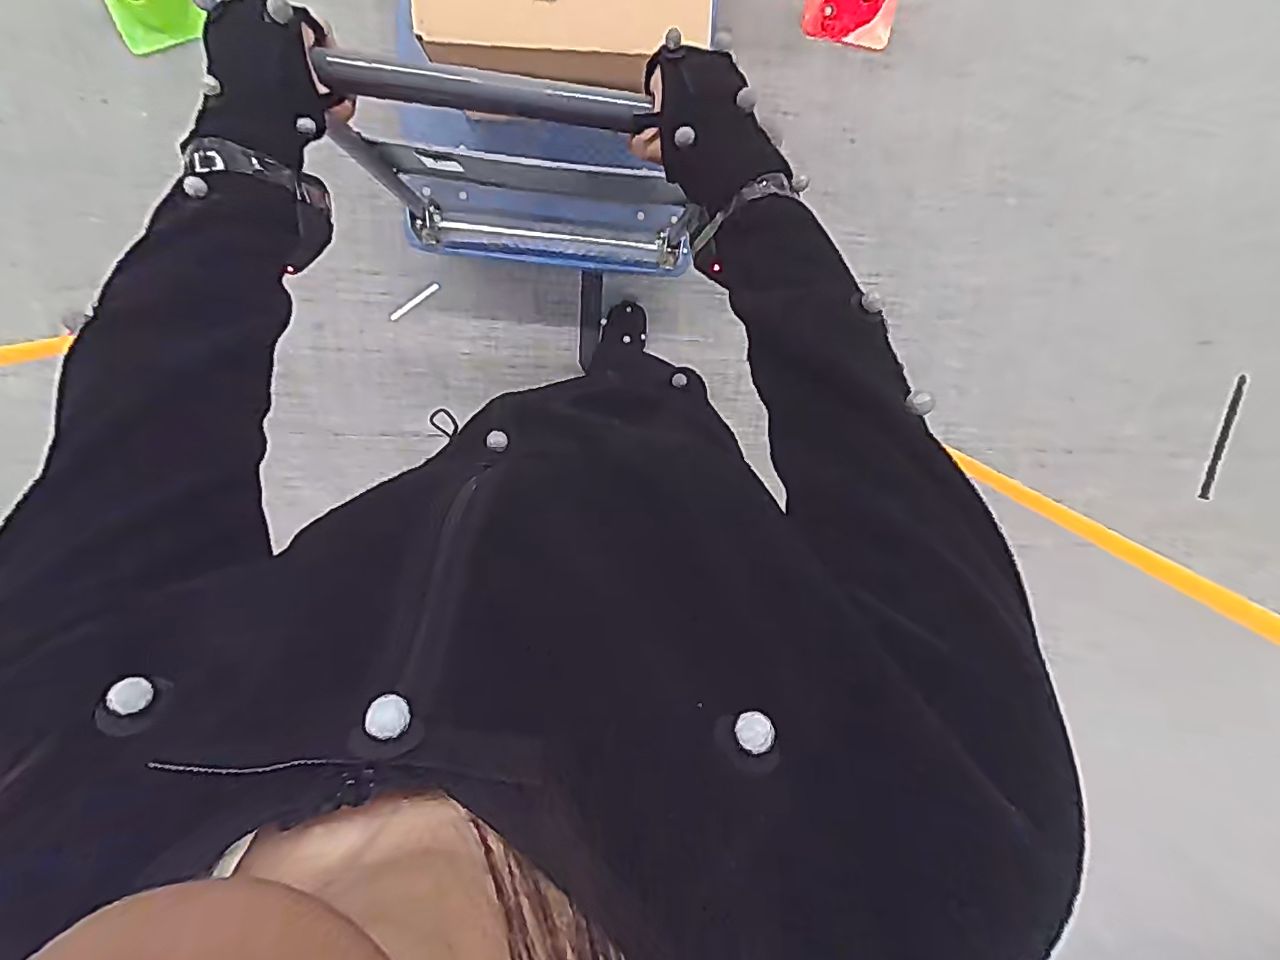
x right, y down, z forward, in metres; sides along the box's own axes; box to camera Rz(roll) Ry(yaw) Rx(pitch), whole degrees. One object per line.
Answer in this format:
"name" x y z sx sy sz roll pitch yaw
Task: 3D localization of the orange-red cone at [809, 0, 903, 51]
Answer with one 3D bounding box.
"orange-red cone" 0.493 -1.006 1.002 0.199 0.360 0.198 8 106 -9
